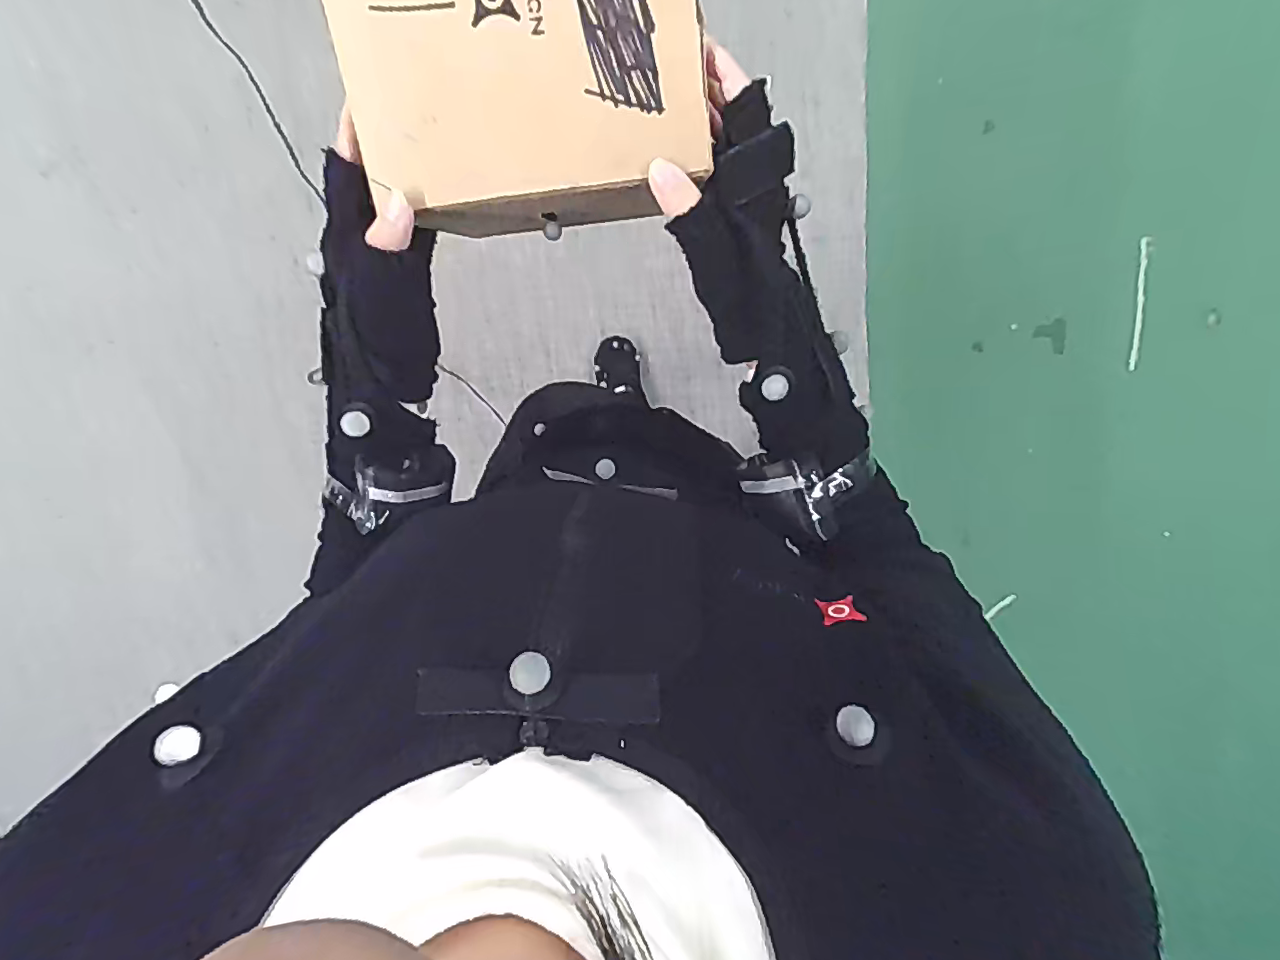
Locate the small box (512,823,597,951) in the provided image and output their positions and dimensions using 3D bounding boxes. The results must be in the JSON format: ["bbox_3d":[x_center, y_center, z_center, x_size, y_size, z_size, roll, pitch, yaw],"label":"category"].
[{"bbox_3d":[-0.188,0.915,1.230,0.168,0.176,0.179,-2,100,1],"label":"small box"}]

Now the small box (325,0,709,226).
[{"bbox_3d":[-0.059,-0.254,0.323,0.179,0.176,0.168,-6,111,4],"label":"small box"}]
